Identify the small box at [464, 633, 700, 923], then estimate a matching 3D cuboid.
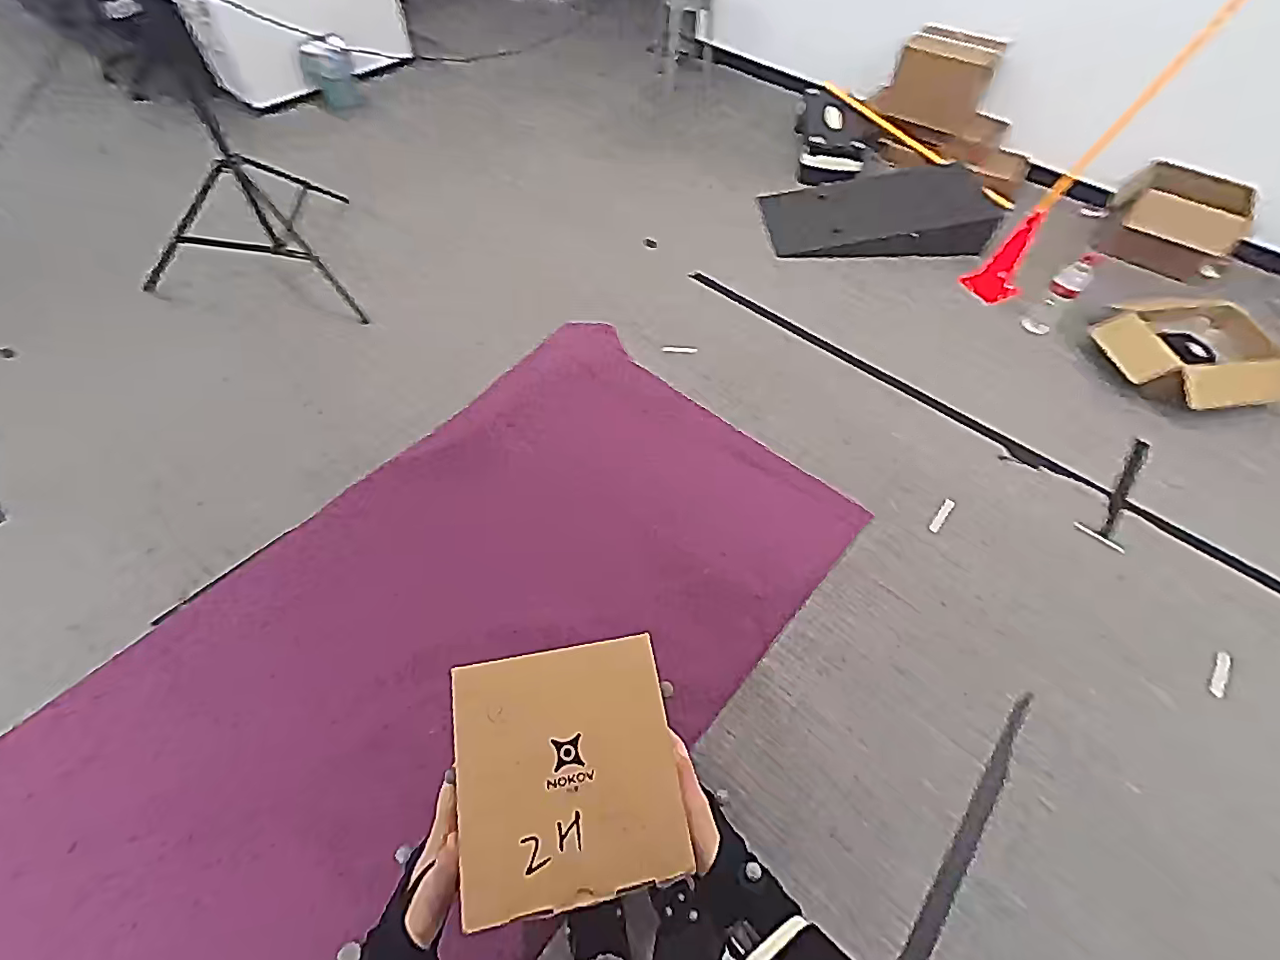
[{"bbox_3d":[-0.059,0.254,0.486,0.168,0.176,0.179,-7,64,-10],"label":"small box"}]
